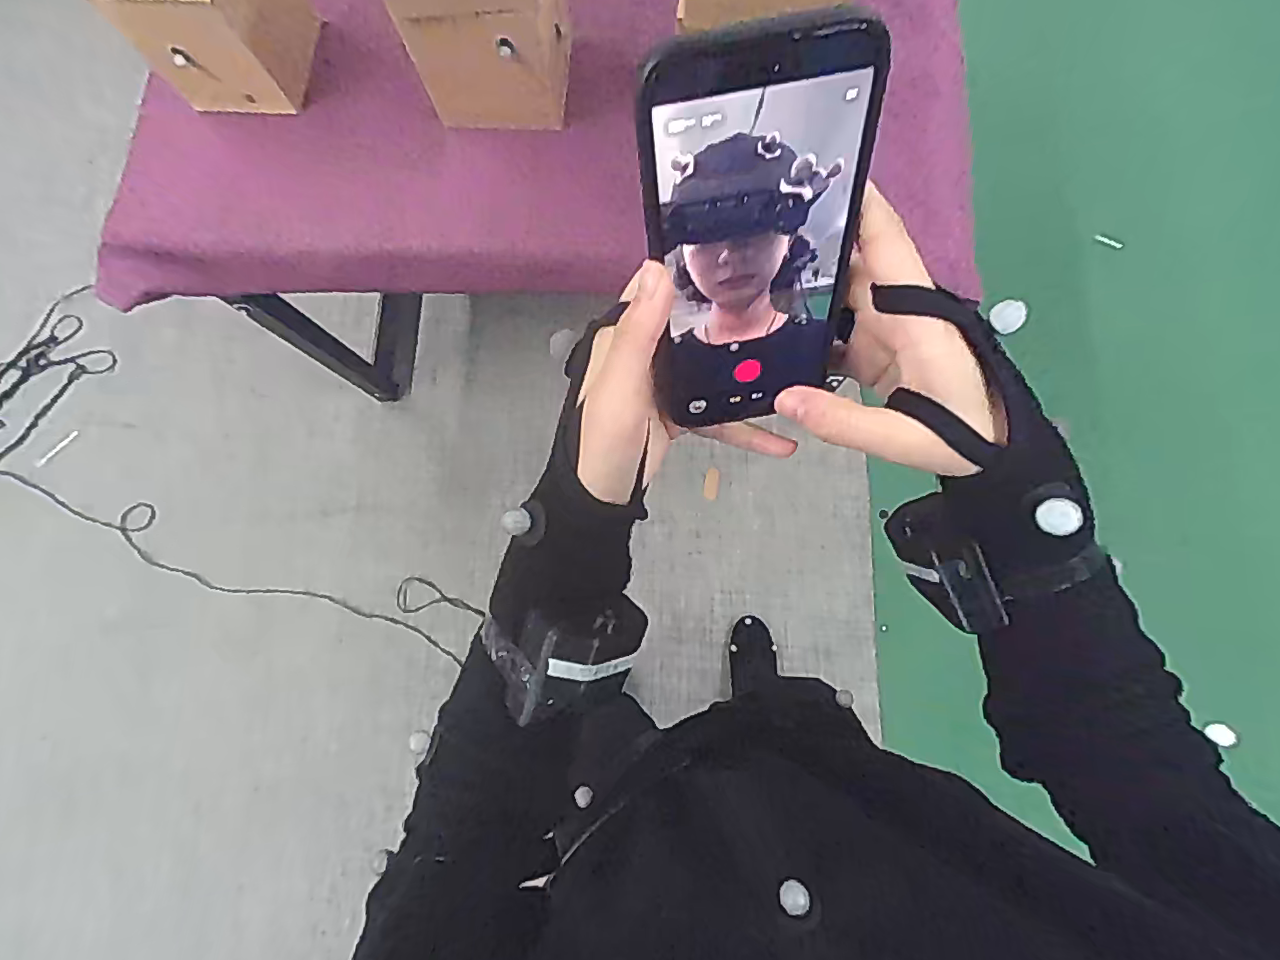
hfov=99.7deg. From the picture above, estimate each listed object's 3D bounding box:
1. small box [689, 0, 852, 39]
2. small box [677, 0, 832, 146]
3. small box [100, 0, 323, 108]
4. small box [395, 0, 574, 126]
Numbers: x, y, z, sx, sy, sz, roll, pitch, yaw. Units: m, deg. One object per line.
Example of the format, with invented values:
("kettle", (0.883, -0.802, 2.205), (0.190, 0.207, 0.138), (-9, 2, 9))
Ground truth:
("small box", (0.146, -0.584, 0.533), (0.179, 0.176, 0.168), (10, 79, 4))
("small box", (0.148, -0.569, 0.697), (0.179, 0.176, 0.168), (10, 79, 6))
("small box", (-0.577, -0.657, 0.751), (0.168, 0.176, 0.179), (5, 79, 4))
("small box", (-0.190, -0.608, 0.720), (0.179, 0.176, 0.168), (4, 79, 4))
